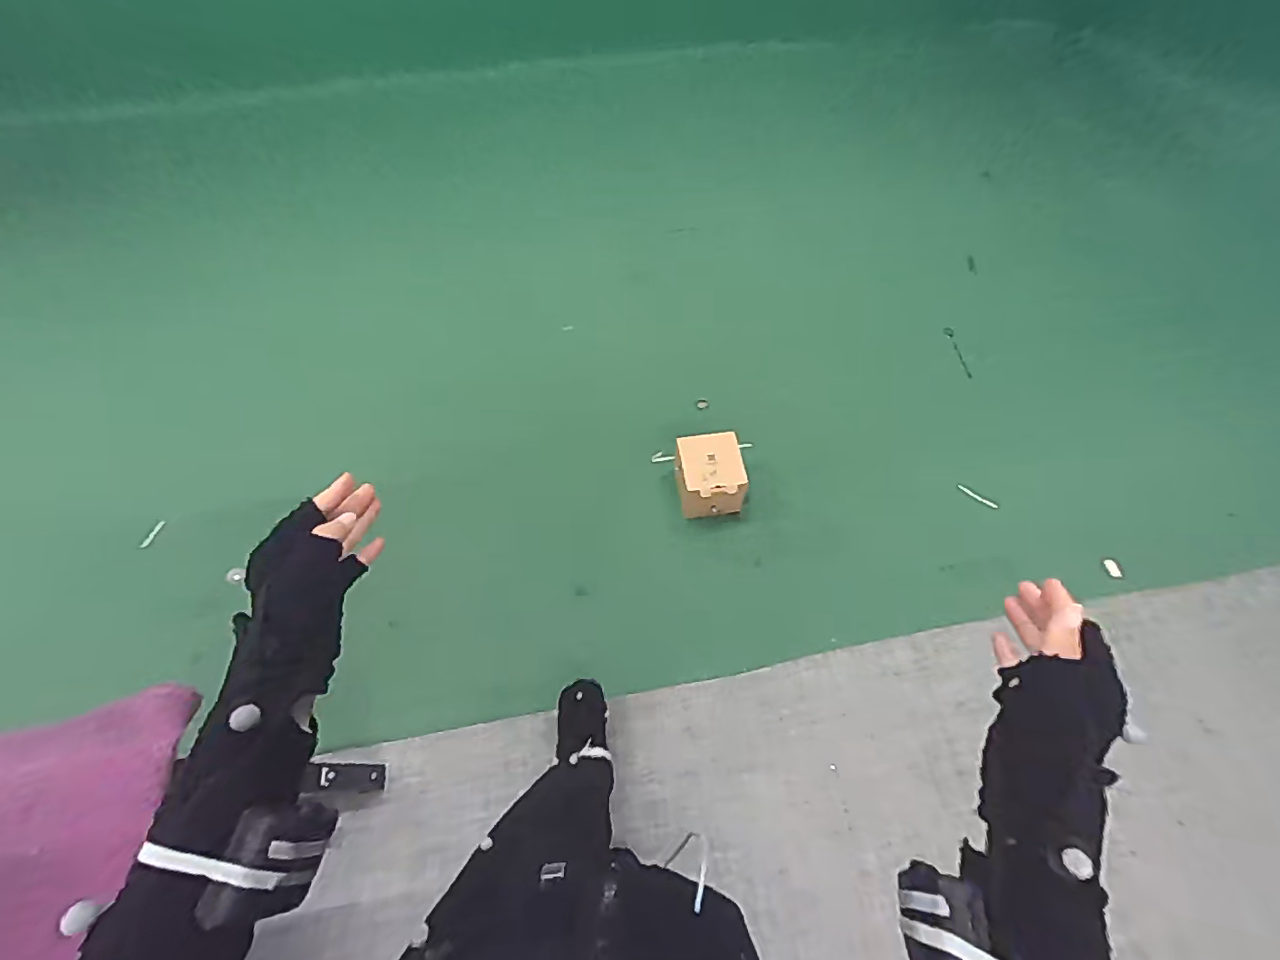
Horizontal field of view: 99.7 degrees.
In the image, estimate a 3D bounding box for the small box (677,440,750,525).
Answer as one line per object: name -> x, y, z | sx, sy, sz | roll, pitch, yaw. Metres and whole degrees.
small box -> 0.201, 0.010, 1.539 | 0.168, 0.176, 0.179 | -7, 61, -3
